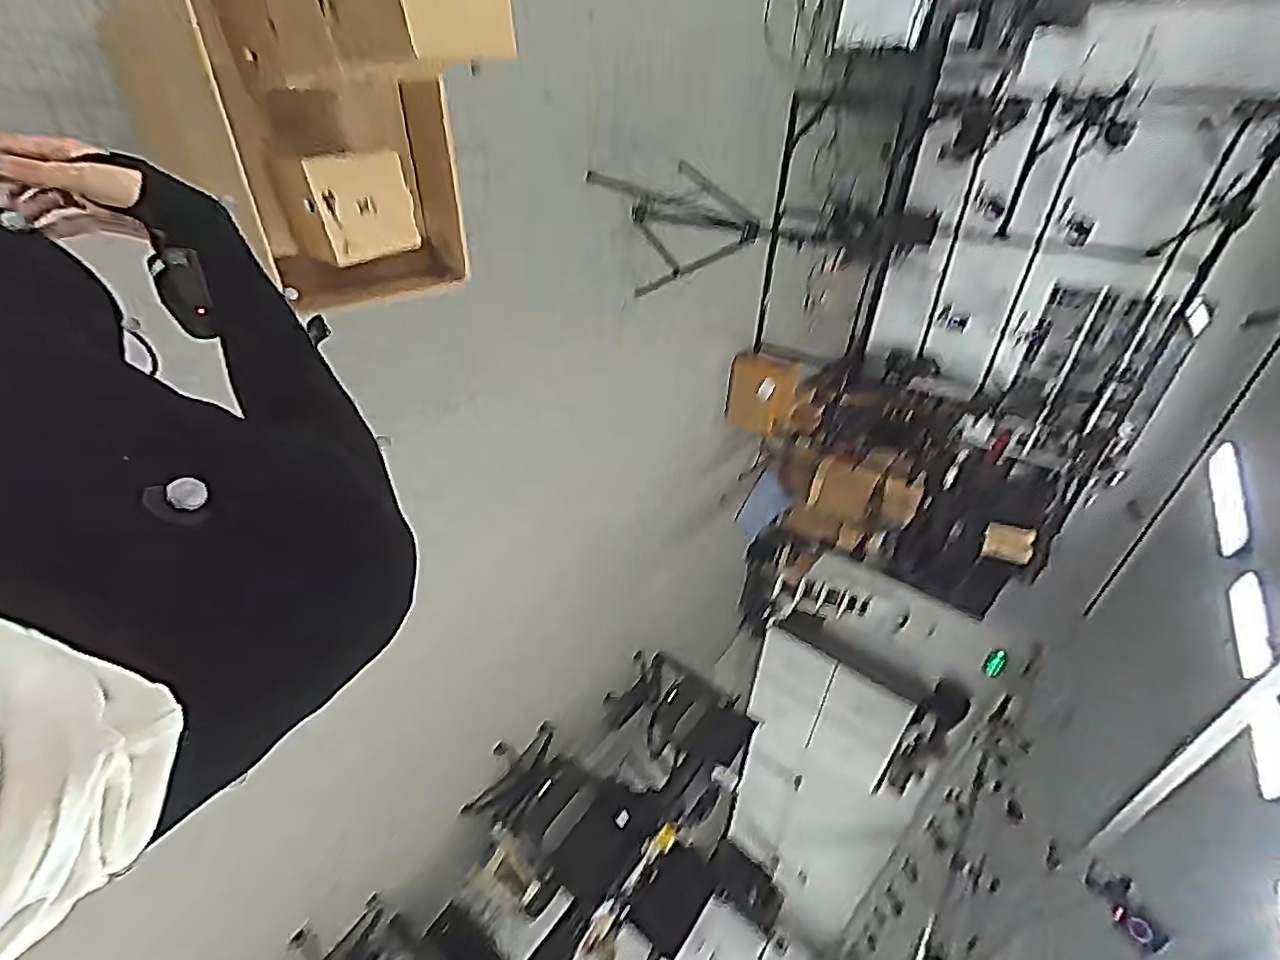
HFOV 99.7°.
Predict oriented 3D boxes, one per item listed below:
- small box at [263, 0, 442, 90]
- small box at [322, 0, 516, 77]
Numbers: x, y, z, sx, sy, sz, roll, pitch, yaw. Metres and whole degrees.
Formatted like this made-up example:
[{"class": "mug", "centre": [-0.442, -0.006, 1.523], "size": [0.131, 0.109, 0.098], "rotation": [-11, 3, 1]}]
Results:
[{"class": "small box", "centre": [-0.429, -0.679, 0.795], "size": [0.179, 0.176, 0.168], "rotation": [-38, 139, -41]}, {"class": "small box", "centre": [-0.294, -0.637, 0.709], "size": [0.179, 0.176, 0.168], "rotation": [-39, 139, -39]}]
